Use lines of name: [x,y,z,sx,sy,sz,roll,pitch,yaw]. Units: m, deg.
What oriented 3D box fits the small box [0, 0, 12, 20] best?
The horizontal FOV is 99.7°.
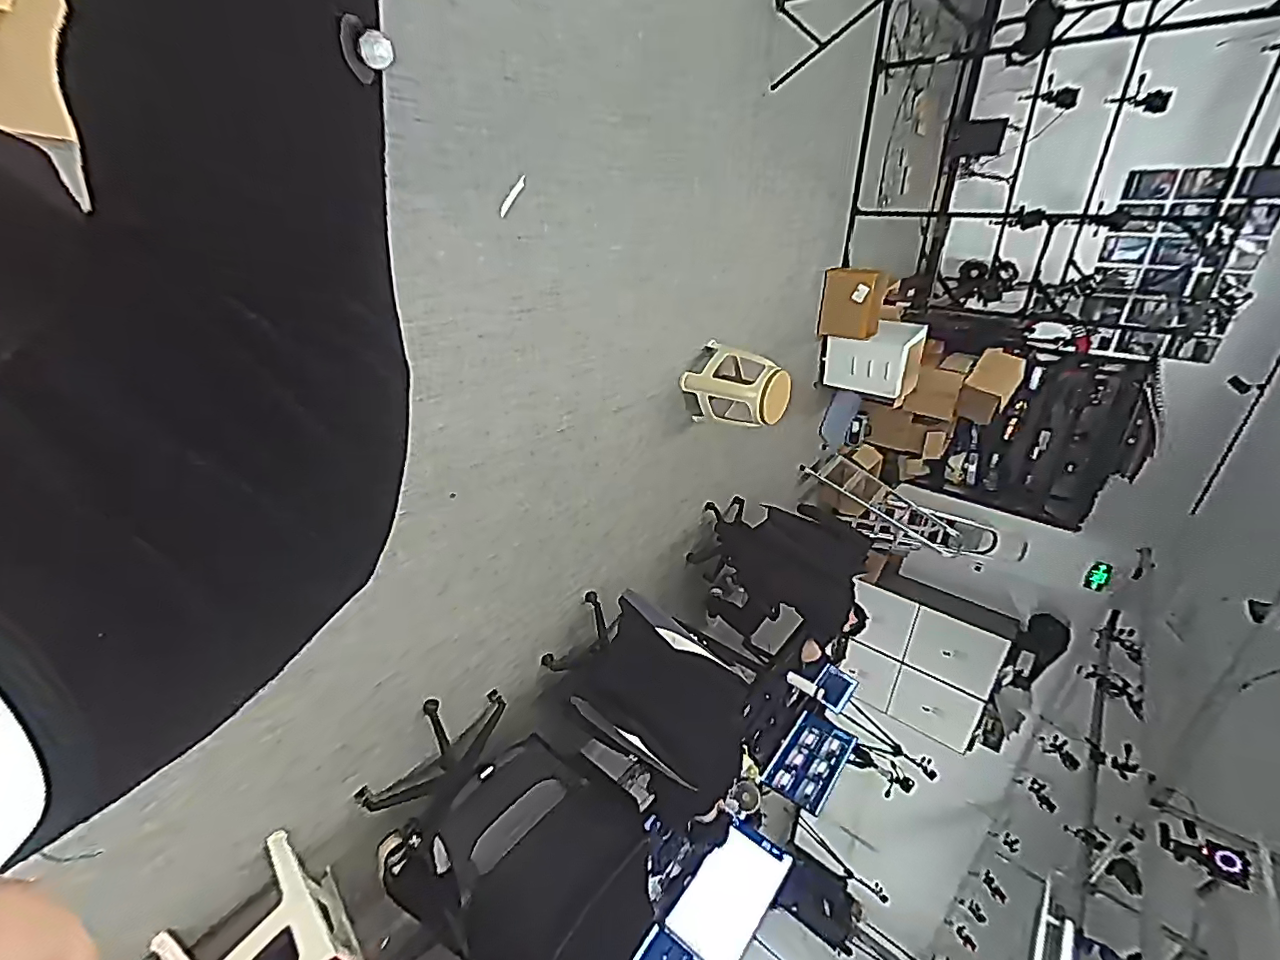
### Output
small box: [-1.076,-0.822,0.800,0.179,0.176,0.168,-4,110,-52]
